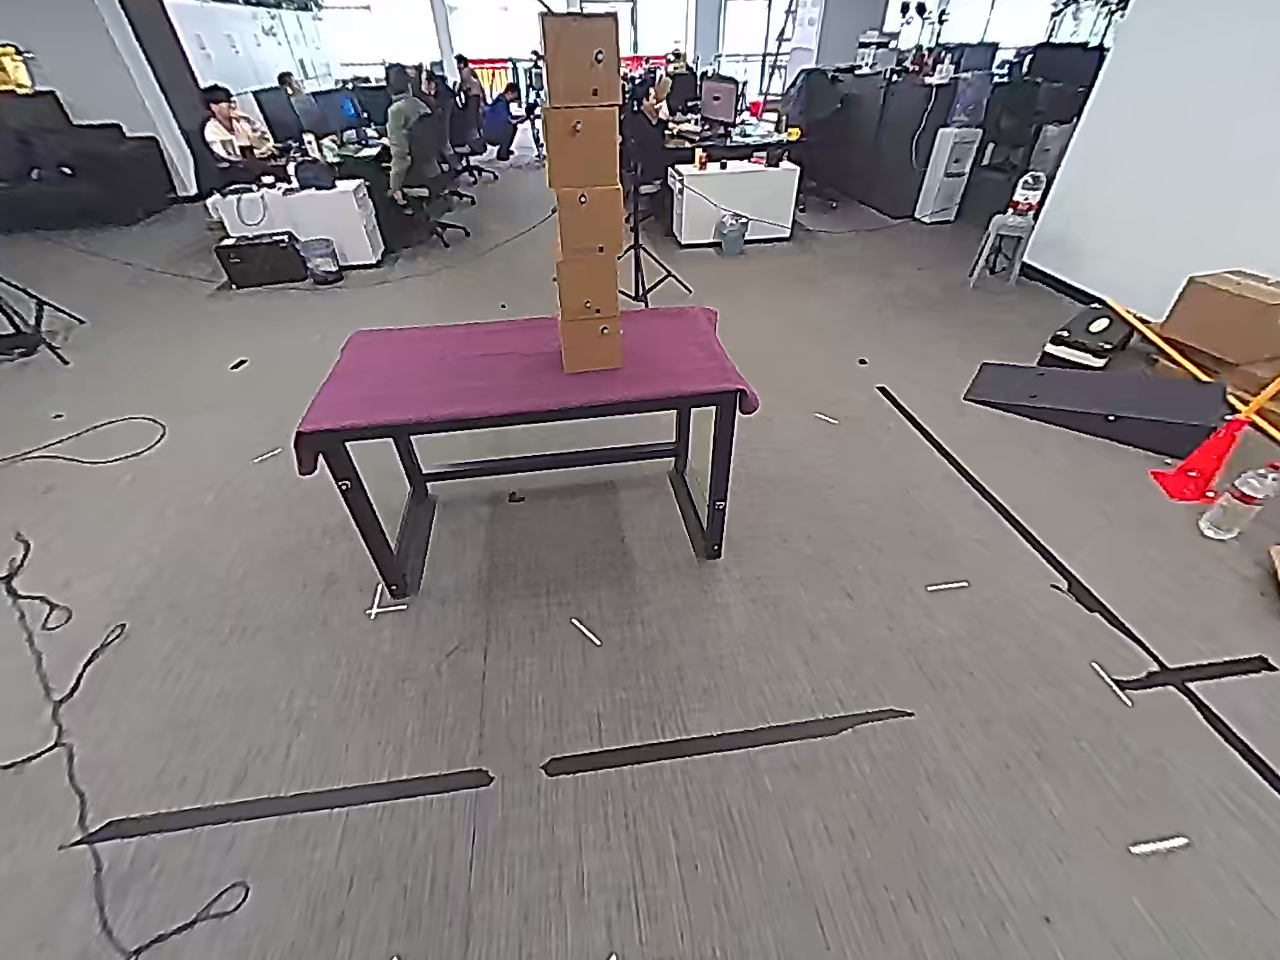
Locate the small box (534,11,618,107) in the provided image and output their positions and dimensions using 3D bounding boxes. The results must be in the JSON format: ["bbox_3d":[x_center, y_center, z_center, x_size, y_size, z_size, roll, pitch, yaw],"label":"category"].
[{"bbox_3d":[-0.146,-0.959,1.236,0.168,0.176,0.179,-8,39,-9],"label":"small box"}]

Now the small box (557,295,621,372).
[{"bbox_3d":[-0.152,-0.444,1.637,0.179,0.176,0.168,-8,39,-7],"label":"small box"}]

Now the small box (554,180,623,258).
[{"bbox_3d":[-0.139,-0.698,1.431,0.168,0.176,0.179,-7,40,-7],"label":"small box"}]

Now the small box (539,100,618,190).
[{"bbox_3d":[-0.151,-0.830,1.336,0.179,0.176,0.168,-8,40,-7],"label":"small box"}]
